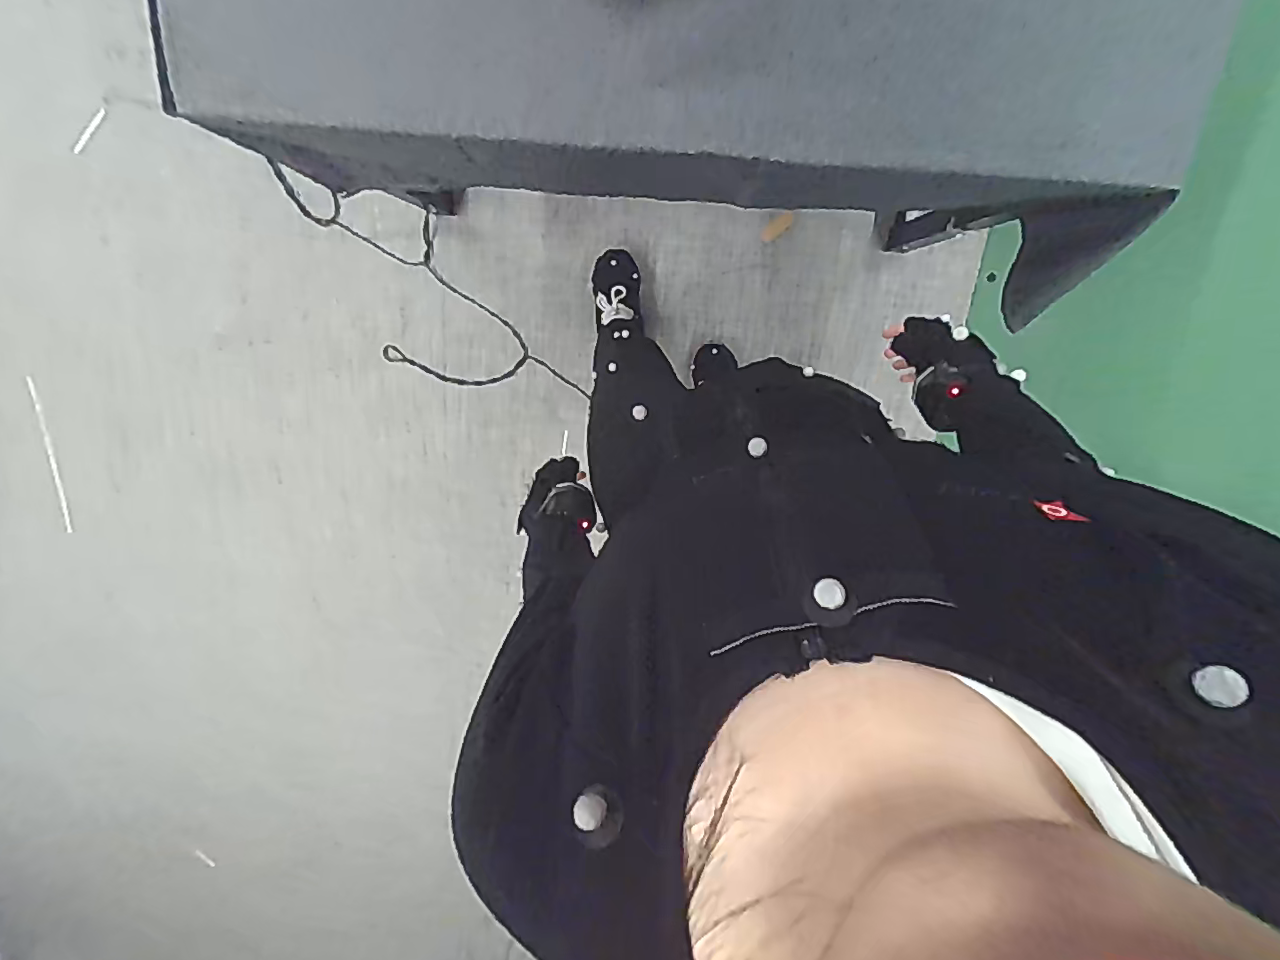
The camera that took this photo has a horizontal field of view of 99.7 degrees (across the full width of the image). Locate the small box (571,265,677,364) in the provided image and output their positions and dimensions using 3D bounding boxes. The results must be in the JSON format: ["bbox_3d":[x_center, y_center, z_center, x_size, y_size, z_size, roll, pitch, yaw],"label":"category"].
[{"bbox_3d":[-0.045,-0.403,1.307,0.179,0.176,0.168,40,120,9],"label":"small box"}]
